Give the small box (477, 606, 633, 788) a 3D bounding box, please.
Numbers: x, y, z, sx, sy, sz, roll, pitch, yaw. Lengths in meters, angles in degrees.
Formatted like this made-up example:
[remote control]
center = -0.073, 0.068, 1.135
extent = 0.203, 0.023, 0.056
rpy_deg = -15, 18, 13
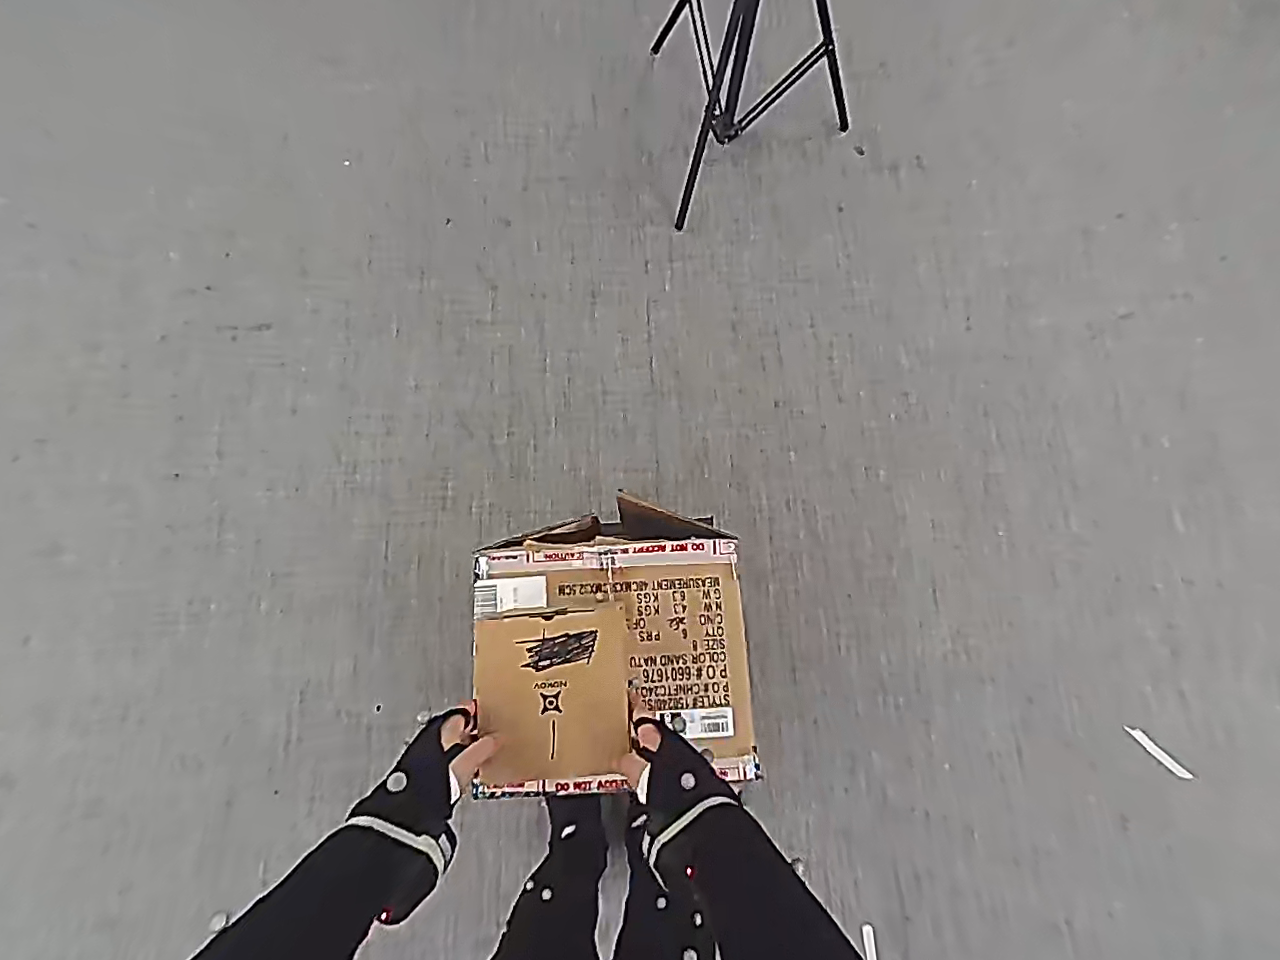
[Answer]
[small box]
center = -0.096, 0.250, 0.665
extent = 0.168, 0.176, 0.179
rpy_deg = -4, 81, -1
